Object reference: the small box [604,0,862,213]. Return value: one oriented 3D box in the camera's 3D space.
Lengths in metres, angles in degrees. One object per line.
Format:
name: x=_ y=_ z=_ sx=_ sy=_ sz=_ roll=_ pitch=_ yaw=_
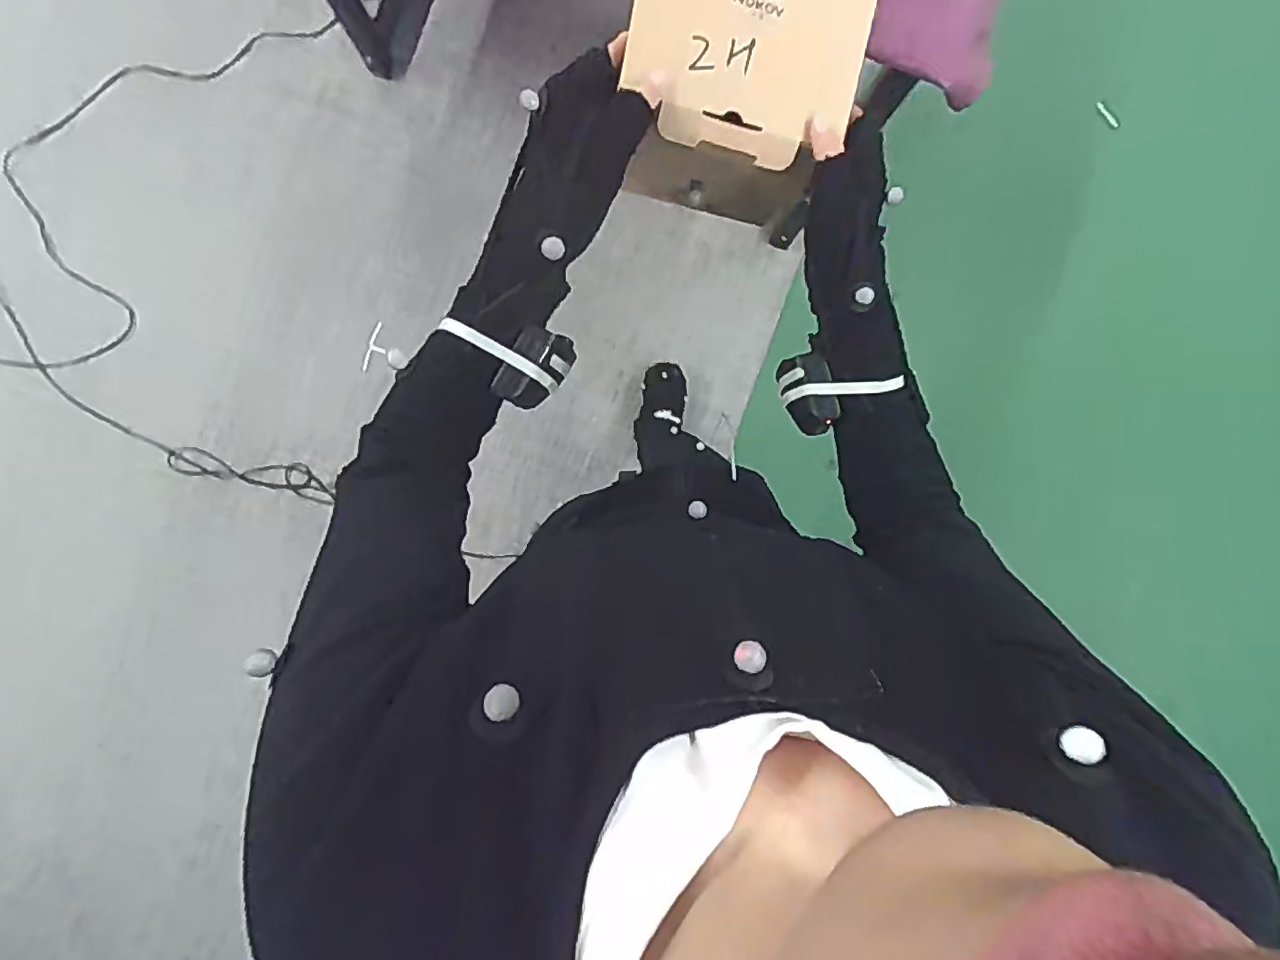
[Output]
small box: x=0.066 y=-0.355 z=0.449 sx=0.168 sy=0.176 sz=0.179 roll=11 pitch=98 yaw=-8
